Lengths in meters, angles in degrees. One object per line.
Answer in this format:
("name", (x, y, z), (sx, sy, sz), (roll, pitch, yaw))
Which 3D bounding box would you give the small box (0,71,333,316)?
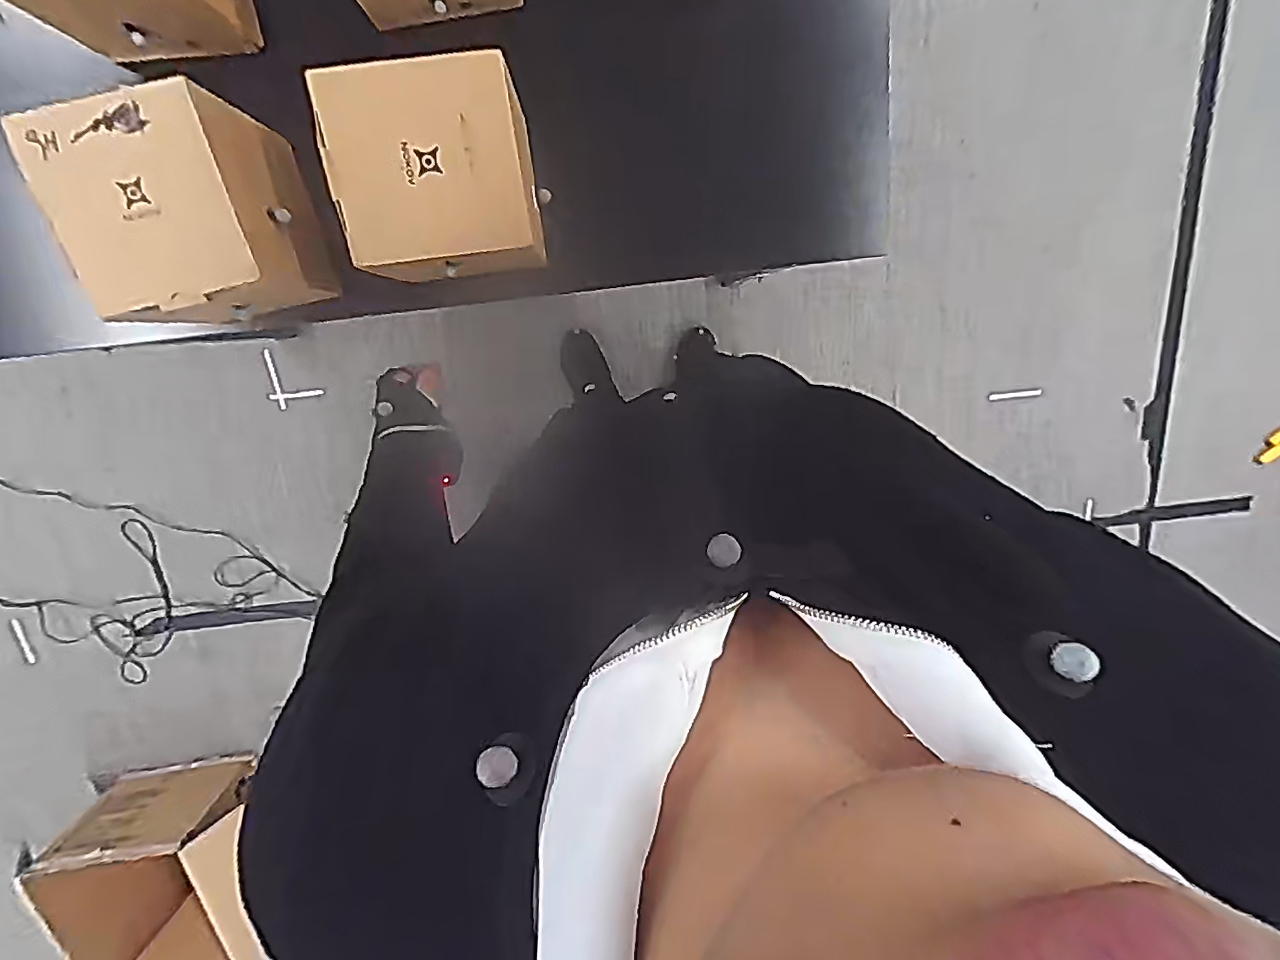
("small box", (-0.461, -0.277, 0.566), (0.168, 0.176, 0.179), (-13, 106, 0))

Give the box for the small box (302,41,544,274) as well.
("small box", (-0.208, -0.321, 0.574), (0.179, 0.176, 0.168), (-9, 107, -3))

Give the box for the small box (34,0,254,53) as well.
("small box", (-0.502, -0.535, 0.492), (0.168, 0.176, 0.179), (-6, 106, -3))
